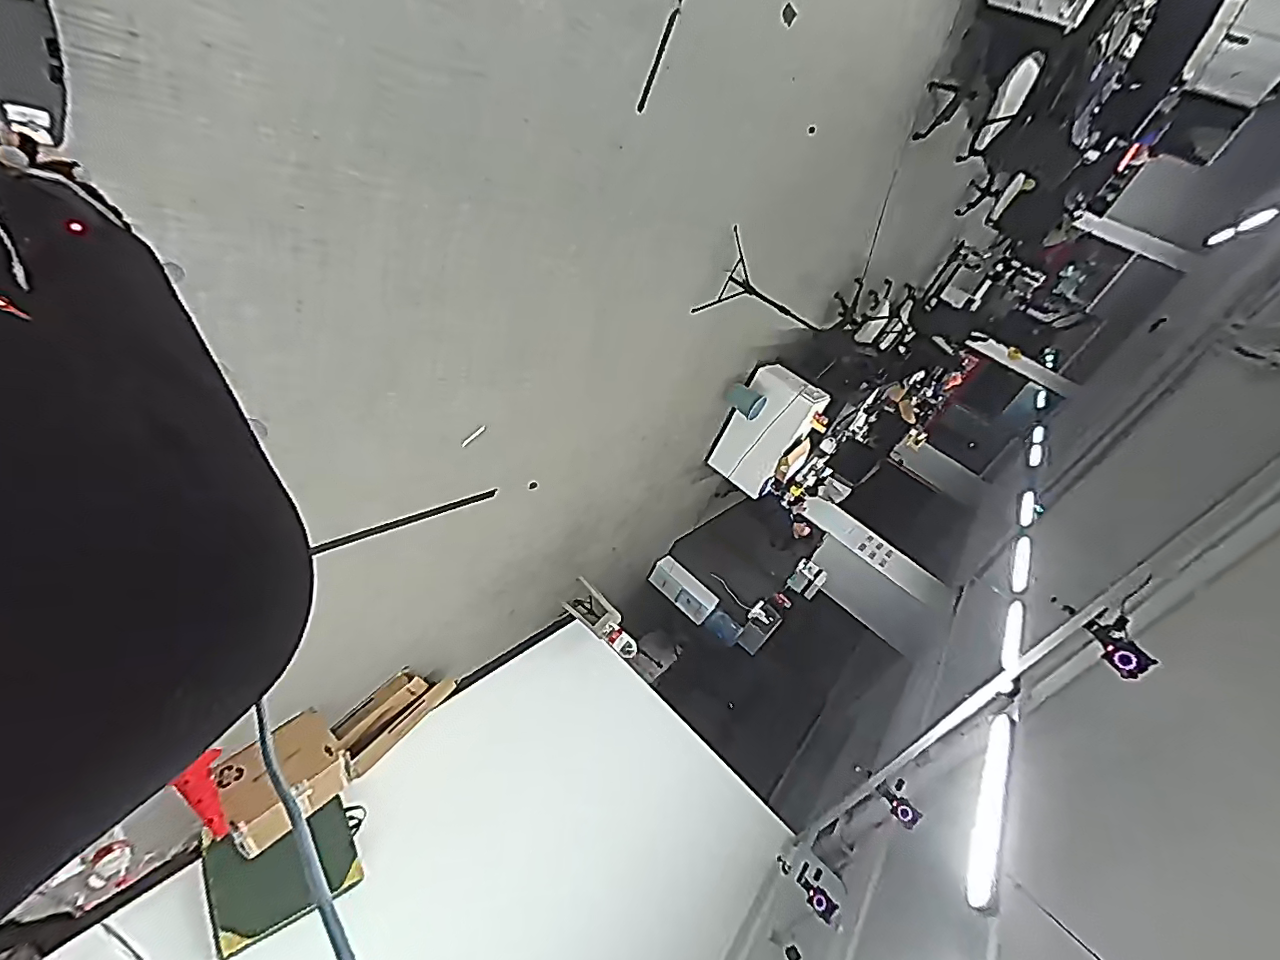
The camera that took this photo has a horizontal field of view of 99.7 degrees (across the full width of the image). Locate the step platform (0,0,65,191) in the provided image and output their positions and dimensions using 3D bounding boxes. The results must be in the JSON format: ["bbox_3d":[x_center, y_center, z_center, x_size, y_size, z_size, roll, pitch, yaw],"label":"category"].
[{"bbox_3d":[-1.170,-0.588,0.631,0.684,0.204,0.286,-15,138,-54],"label":"step platform"}]
